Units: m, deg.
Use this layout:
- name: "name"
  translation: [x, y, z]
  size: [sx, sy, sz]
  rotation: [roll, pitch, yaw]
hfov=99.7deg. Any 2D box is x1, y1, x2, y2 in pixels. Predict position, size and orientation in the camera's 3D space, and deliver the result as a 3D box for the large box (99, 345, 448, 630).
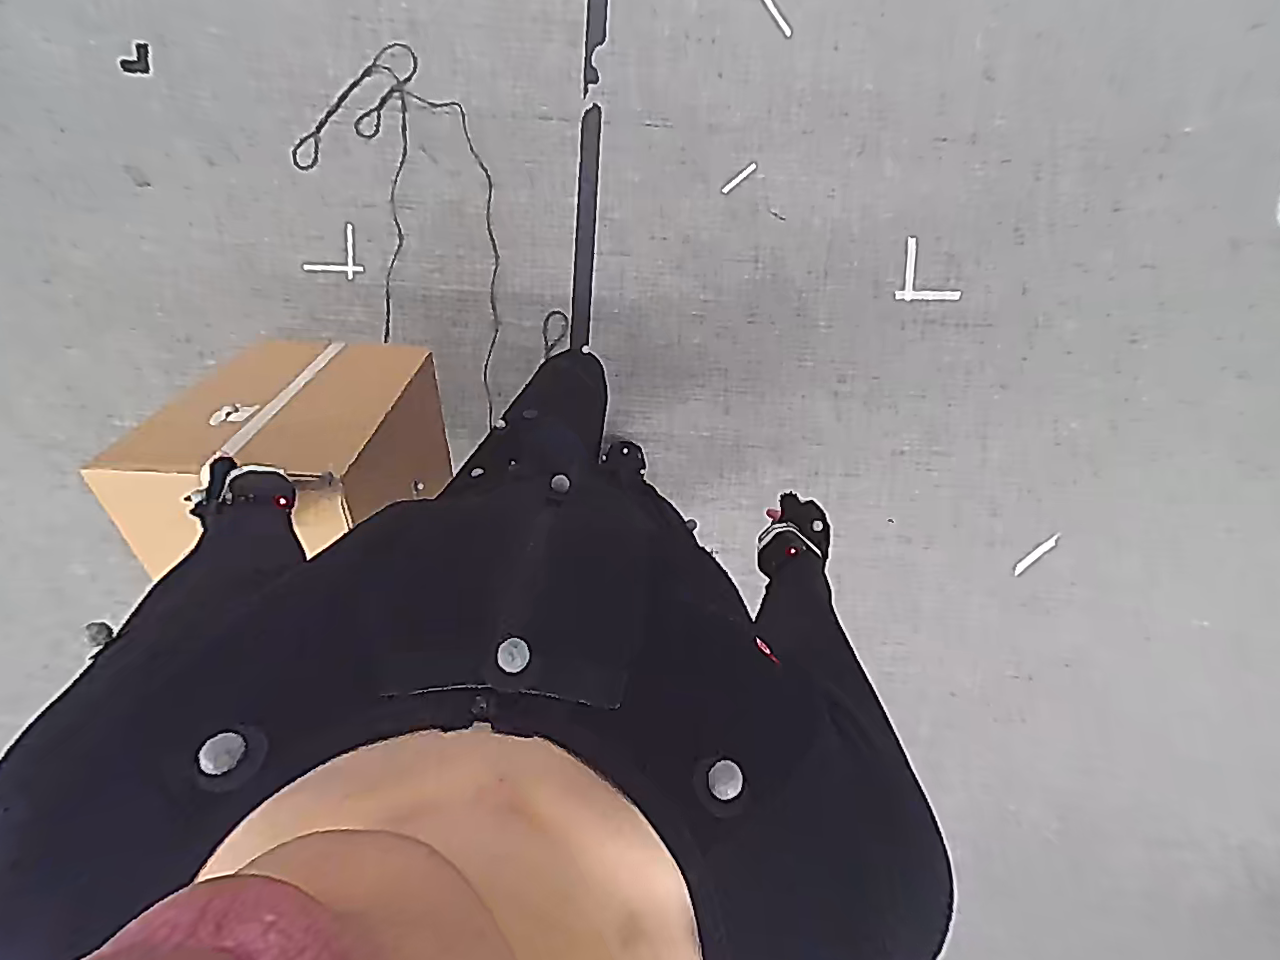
- name: "large box"
  translation: [-0.546, 0.000, 0.929]
  size: [0.320, 0.408, 0.320]
  rotation: [1, 127, -3]
